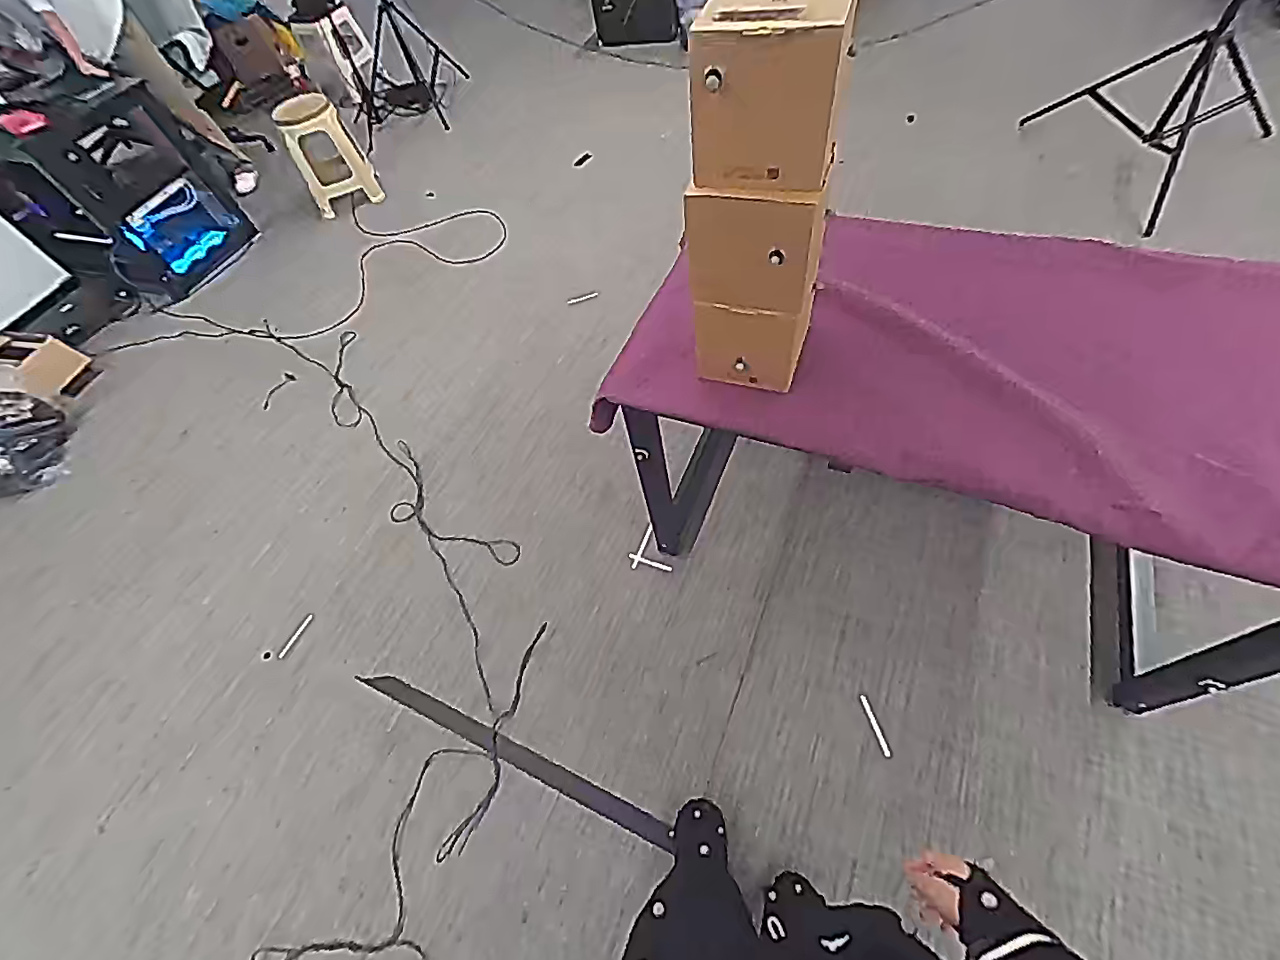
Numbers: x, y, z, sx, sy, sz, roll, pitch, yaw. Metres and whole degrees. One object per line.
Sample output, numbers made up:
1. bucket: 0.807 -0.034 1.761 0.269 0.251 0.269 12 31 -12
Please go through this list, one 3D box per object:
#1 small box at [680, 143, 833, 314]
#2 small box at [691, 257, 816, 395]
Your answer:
1. small box: 0.172 -0.368 0.802 0.179 0.176 0.168 13 58 18
2. small box: 0.194 -0.277 0.934 0.168 0.176 0.179 14 60 18
